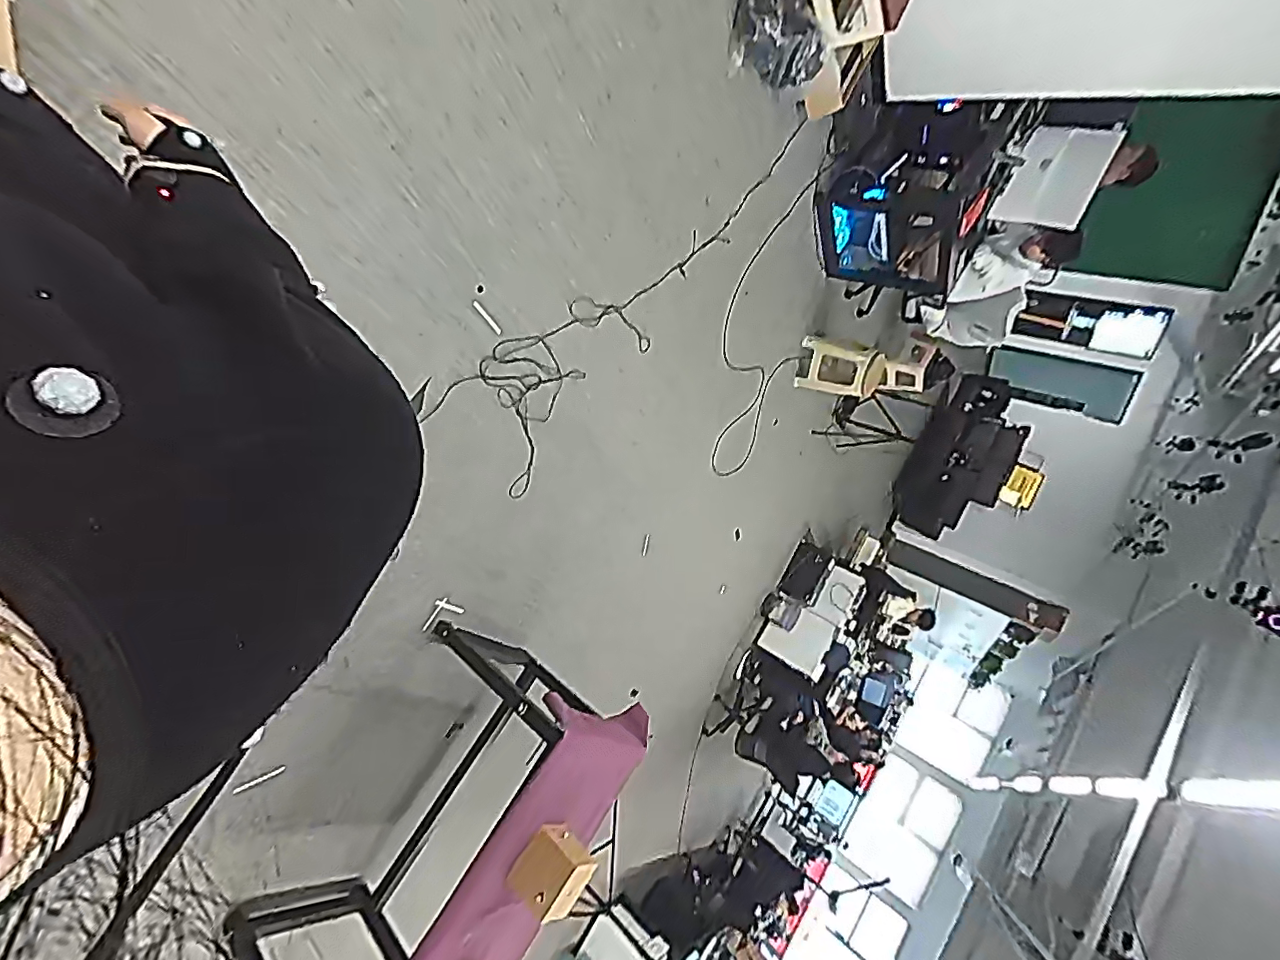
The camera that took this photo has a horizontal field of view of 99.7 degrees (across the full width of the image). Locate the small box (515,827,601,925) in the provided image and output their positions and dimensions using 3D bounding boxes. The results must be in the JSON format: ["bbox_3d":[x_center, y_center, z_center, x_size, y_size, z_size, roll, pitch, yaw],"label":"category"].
[{"bbox_3d":[-0.259,1.207,1.661,0.179,0.176,0.168,-54,145,-15],"label":"small box"}]
